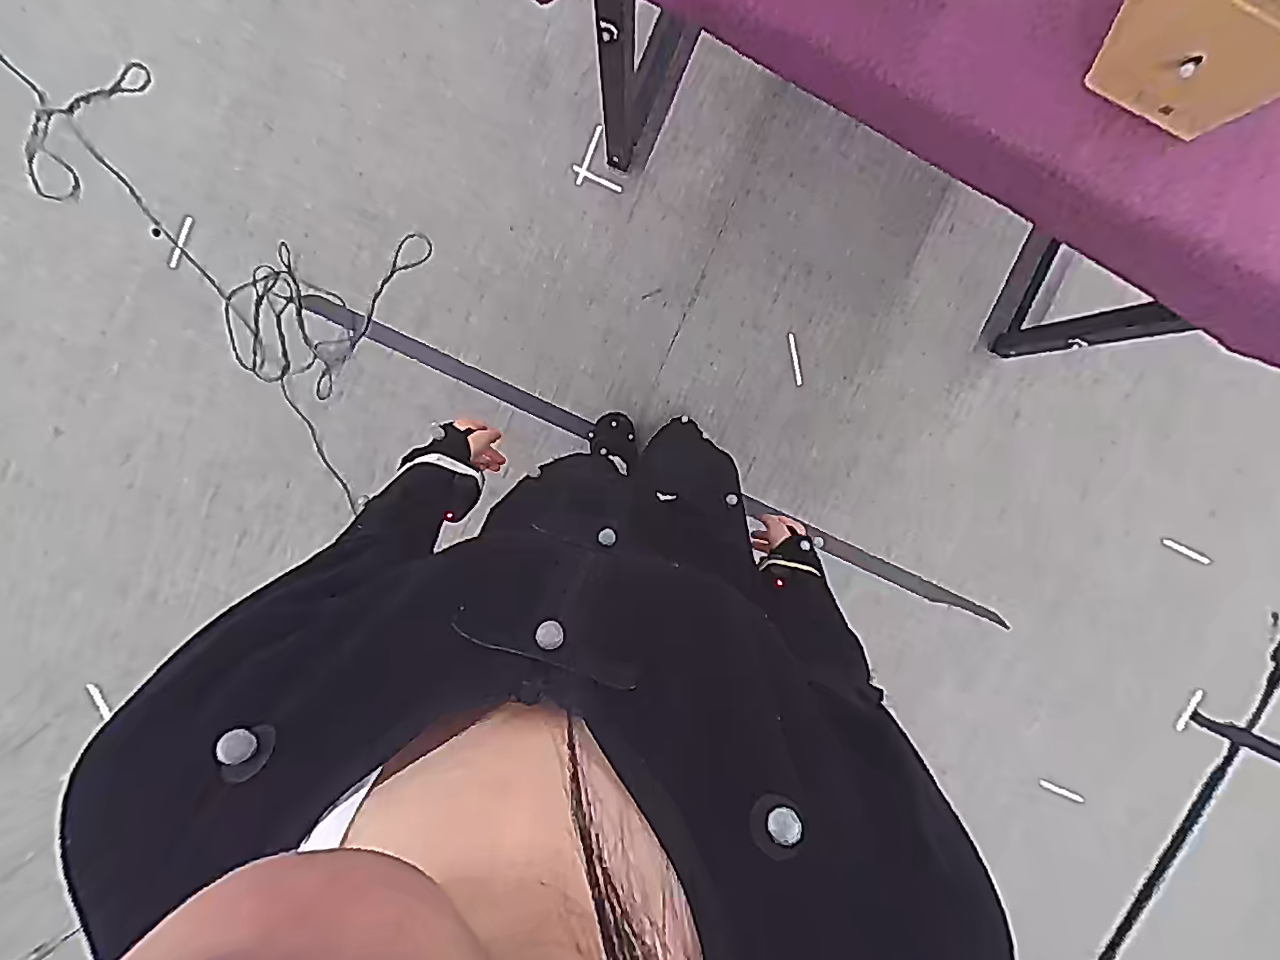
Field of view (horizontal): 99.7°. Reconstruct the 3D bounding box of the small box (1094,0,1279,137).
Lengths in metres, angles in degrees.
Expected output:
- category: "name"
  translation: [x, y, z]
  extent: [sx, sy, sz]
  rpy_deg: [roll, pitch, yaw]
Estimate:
- category: "small box"
  translation: [0.691, -0.548, 0.628]
  extent: [0.168, 0.176, 0.179]
  rpy_deg: [24, 95, -4]
